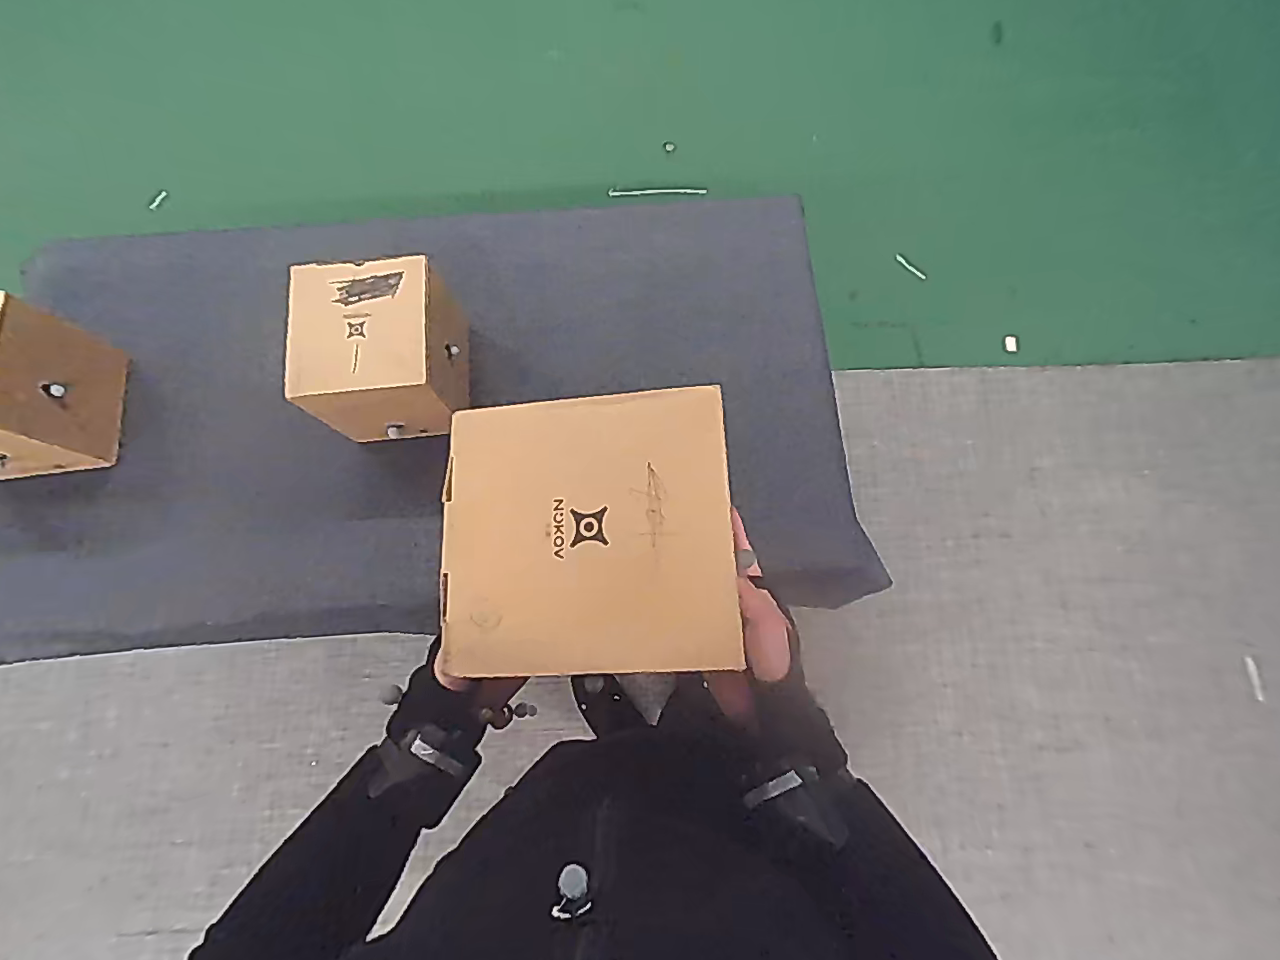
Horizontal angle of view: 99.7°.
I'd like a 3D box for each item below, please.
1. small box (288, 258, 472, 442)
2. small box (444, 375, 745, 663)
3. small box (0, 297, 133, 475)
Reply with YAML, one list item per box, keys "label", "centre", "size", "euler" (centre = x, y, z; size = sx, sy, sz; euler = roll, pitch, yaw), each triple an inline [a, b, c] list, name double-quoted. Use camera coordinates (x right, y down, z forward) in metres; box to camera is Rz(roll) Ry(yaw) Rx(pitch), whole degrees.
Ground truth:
- label: "small box"
  centre: [-0.331, -0.164, 0.721]
  size: [0.168, 0.176, 0.179]
  euler: [-6, 76, 0]
- label: "small box"
  centre: [-0.020, 0.041, 0.397]
  size: [0.179, 0.176, 0.168]
  euler: [-5, 76, 7]
- label: "small box"
  centre: [-0.828, -0.111, 0.714]
  size: [0.168, 0.176, 0.179]
  euler: [-8, 76, -2]
